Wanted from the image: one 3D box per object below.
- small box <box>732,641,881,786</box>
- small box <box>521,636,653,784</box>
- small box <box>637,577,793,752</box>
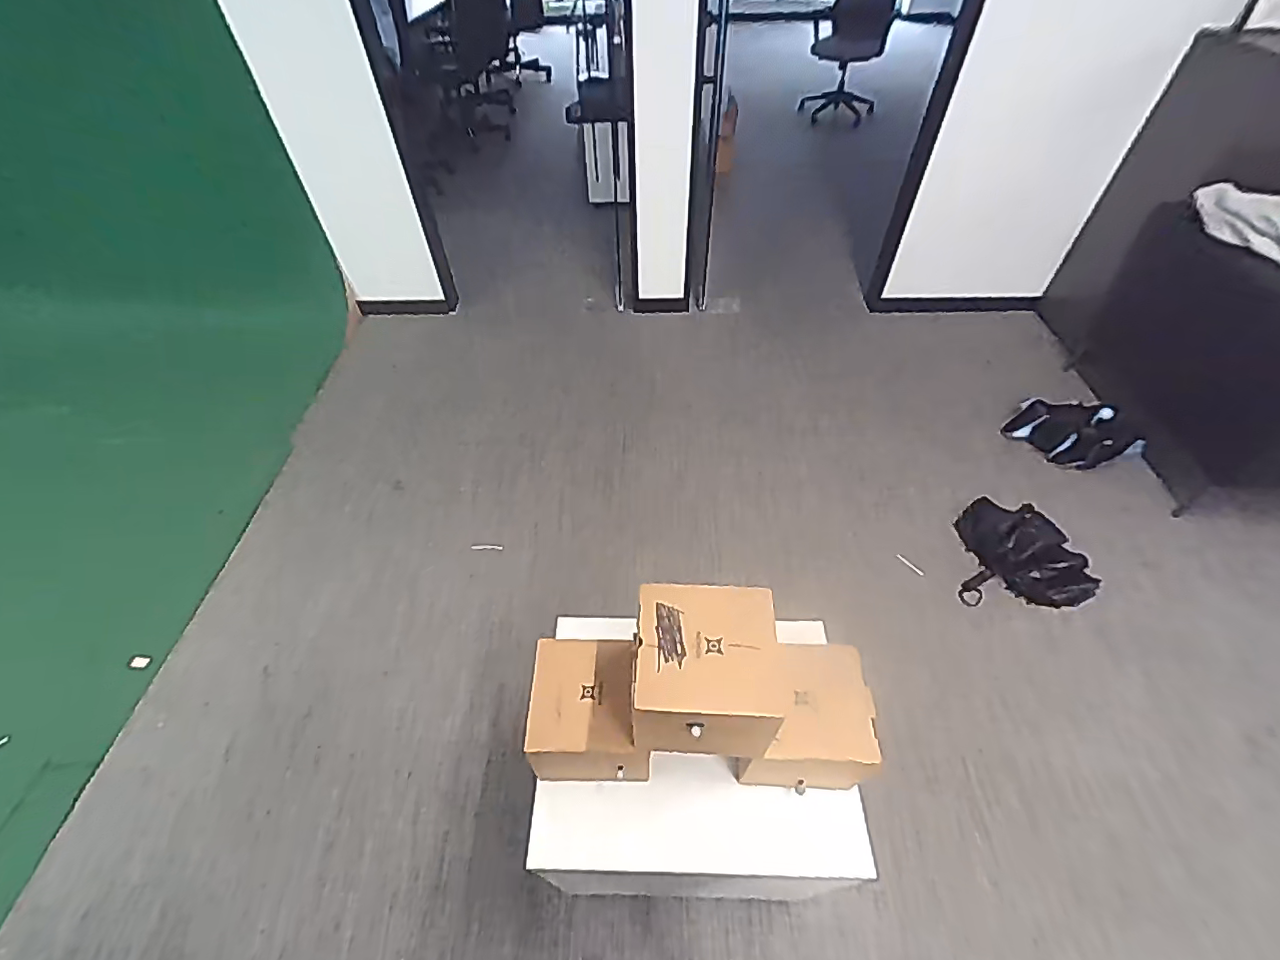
[{"bbox_3d":[0.238,0.361,0.833,0.179,0.176,0.168,1,49,1],"label":"small box"},{"bbox_3d":[-0.075,0.353,0.826,0.179,0.176,0.168,0,48,-2],"label":"small box"},{"bbox_3d":[0.086,0.245,0.710,0.179,0.176,0.168,3,49,0],"label":"small box"}]
